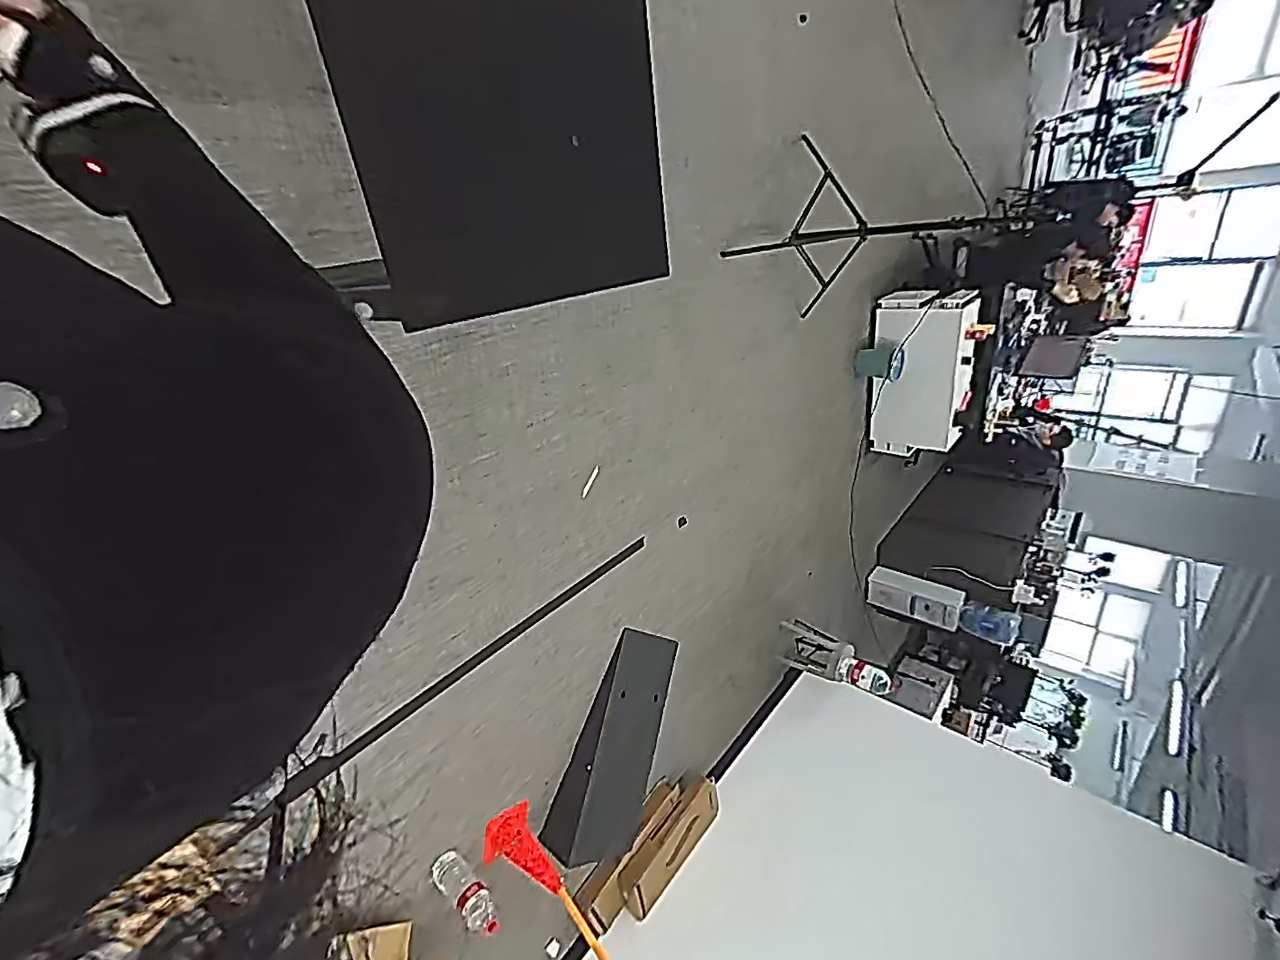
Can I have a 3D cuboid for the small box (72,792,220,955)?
[{"bbox_3d":[-0.998,0.784,1.097,0.168,0.176,0.179,-30,122,-40],"label":"small box"}]
